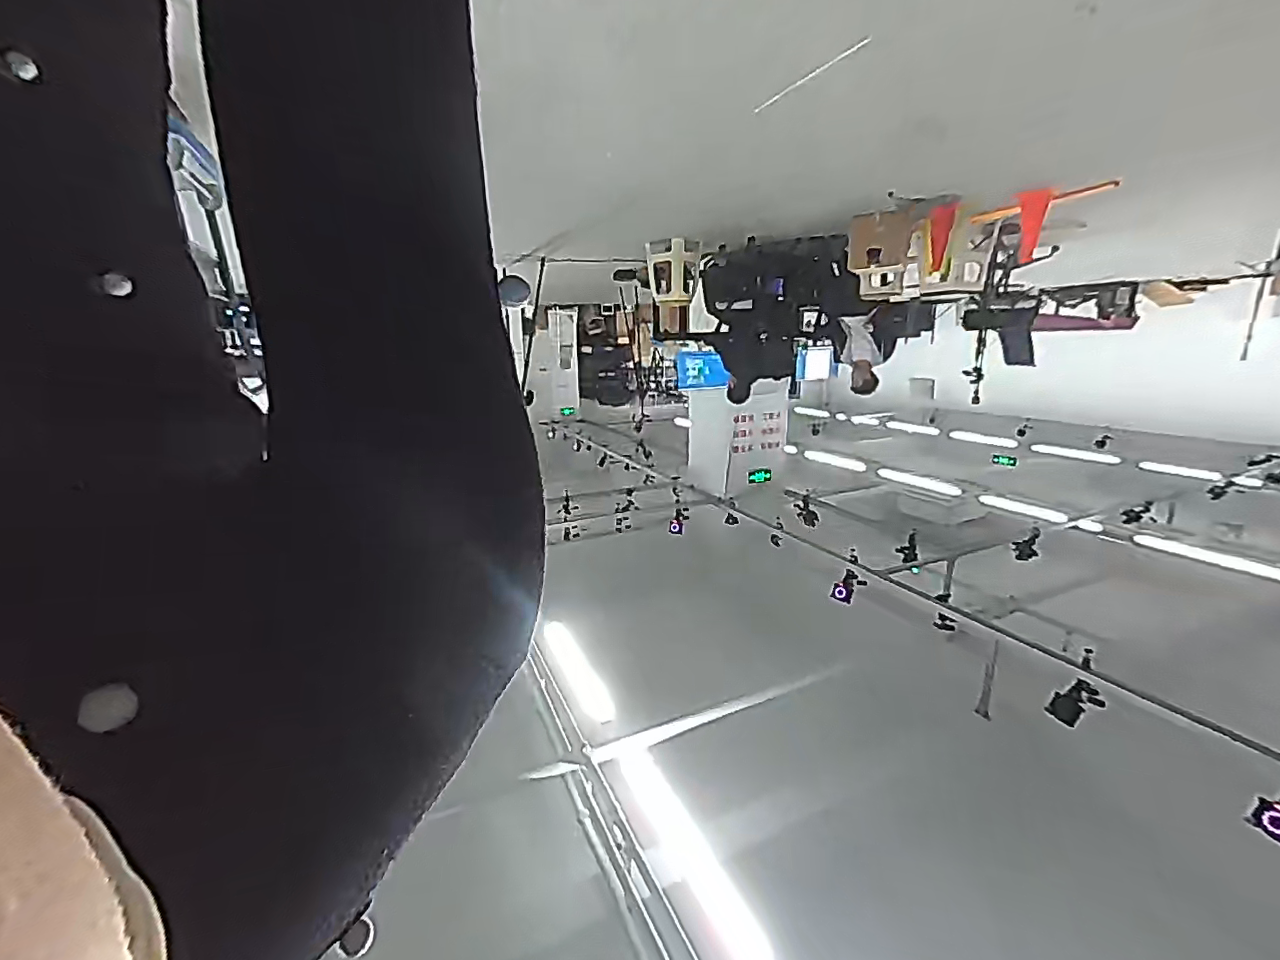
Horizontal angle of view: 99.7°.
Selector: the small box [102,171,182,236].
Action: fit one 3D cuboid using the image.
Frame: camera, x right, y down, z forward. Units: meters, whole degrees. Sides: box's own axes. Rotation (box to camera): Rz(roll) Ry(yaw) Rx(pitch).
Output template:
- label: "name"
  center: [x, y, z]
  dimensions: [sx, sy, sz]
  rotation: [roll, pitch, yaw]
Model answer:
- label: "small box"
  center: [-1.585, -0.878, 1.702]
  dimensions: [0.168, 0.176, 0.179]
  rotation: [-9, -163, -27]
